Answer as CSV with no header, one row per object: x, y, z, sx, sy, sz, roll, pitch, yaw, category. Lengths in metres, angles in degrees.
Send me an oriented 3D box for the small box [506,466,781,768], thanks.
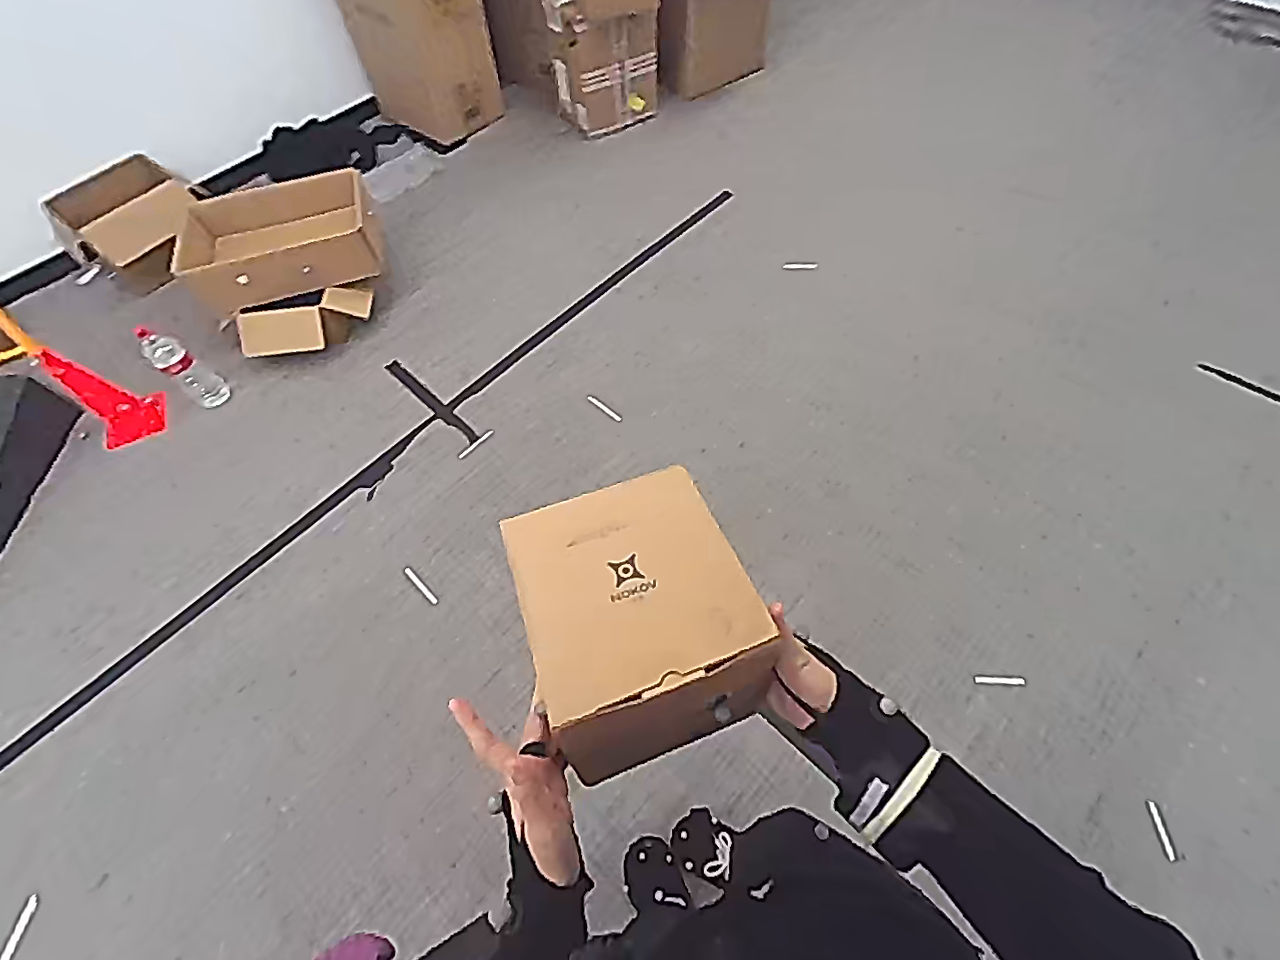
-0.002,0.123,0.465,0.168,0.176,0.179,-17,50,-12,small box
